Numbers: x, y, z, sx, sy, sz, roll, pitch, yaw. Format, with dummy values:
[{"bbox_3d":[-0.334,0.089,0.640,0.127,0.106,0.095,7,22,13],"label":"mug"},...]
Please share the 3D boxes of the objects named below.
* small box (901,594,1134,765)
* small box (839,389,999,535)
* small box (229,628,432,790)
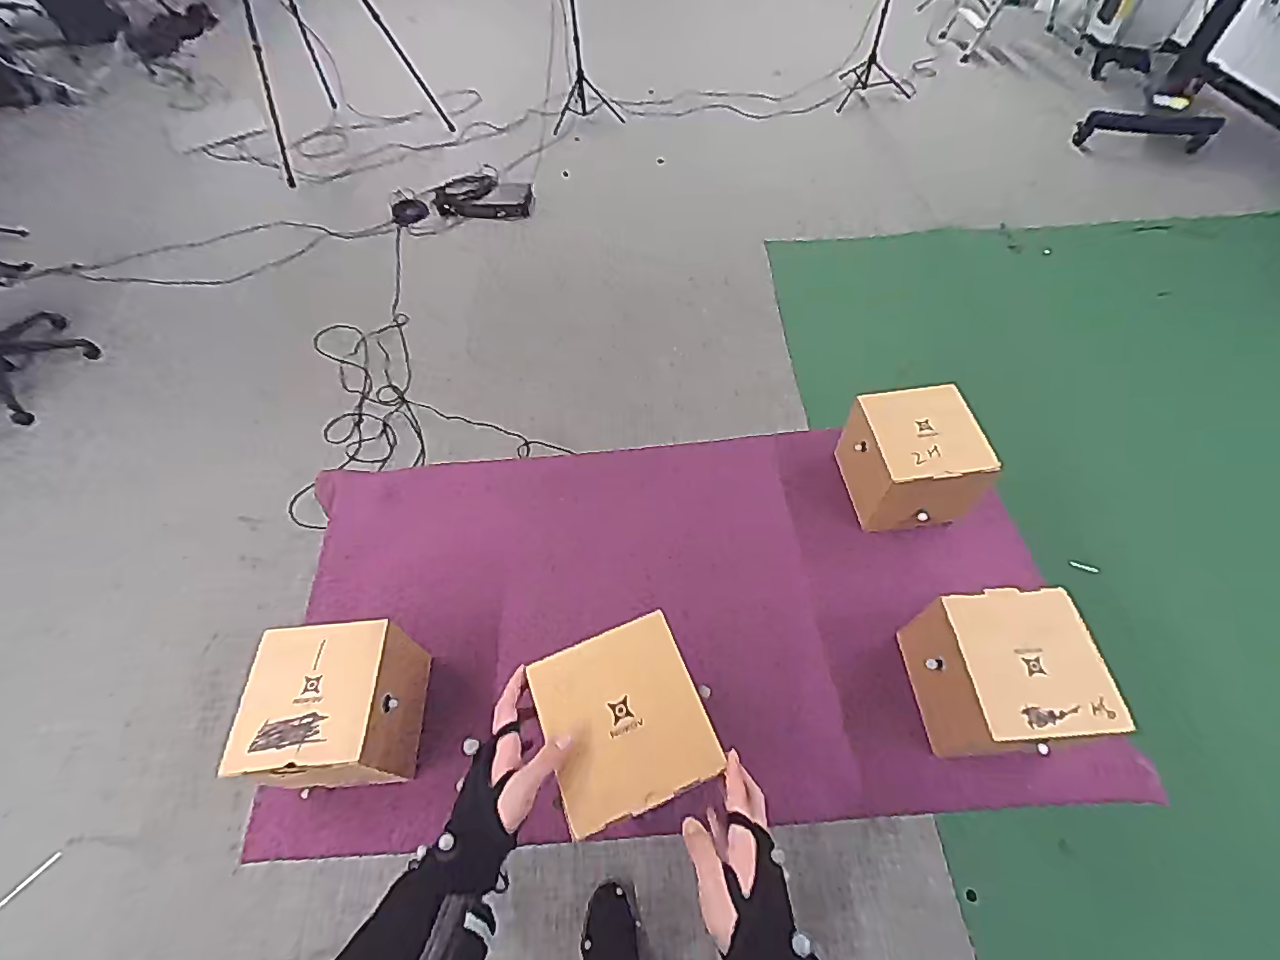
[{"bbox_3d":[0.476,0.269,0.721,0.168,0.176,0.179,-5,57,2],"label":"small box"},{"bbox_3d":[0.454,-0.027,0.917,0.168,0.176,0.179,-8,57,3],"label":"small box"},{"bbox_3d":[-0.408,0.323,0.751,0.168,0.176,0.179,-5,55,0],"label":"small box"}]
